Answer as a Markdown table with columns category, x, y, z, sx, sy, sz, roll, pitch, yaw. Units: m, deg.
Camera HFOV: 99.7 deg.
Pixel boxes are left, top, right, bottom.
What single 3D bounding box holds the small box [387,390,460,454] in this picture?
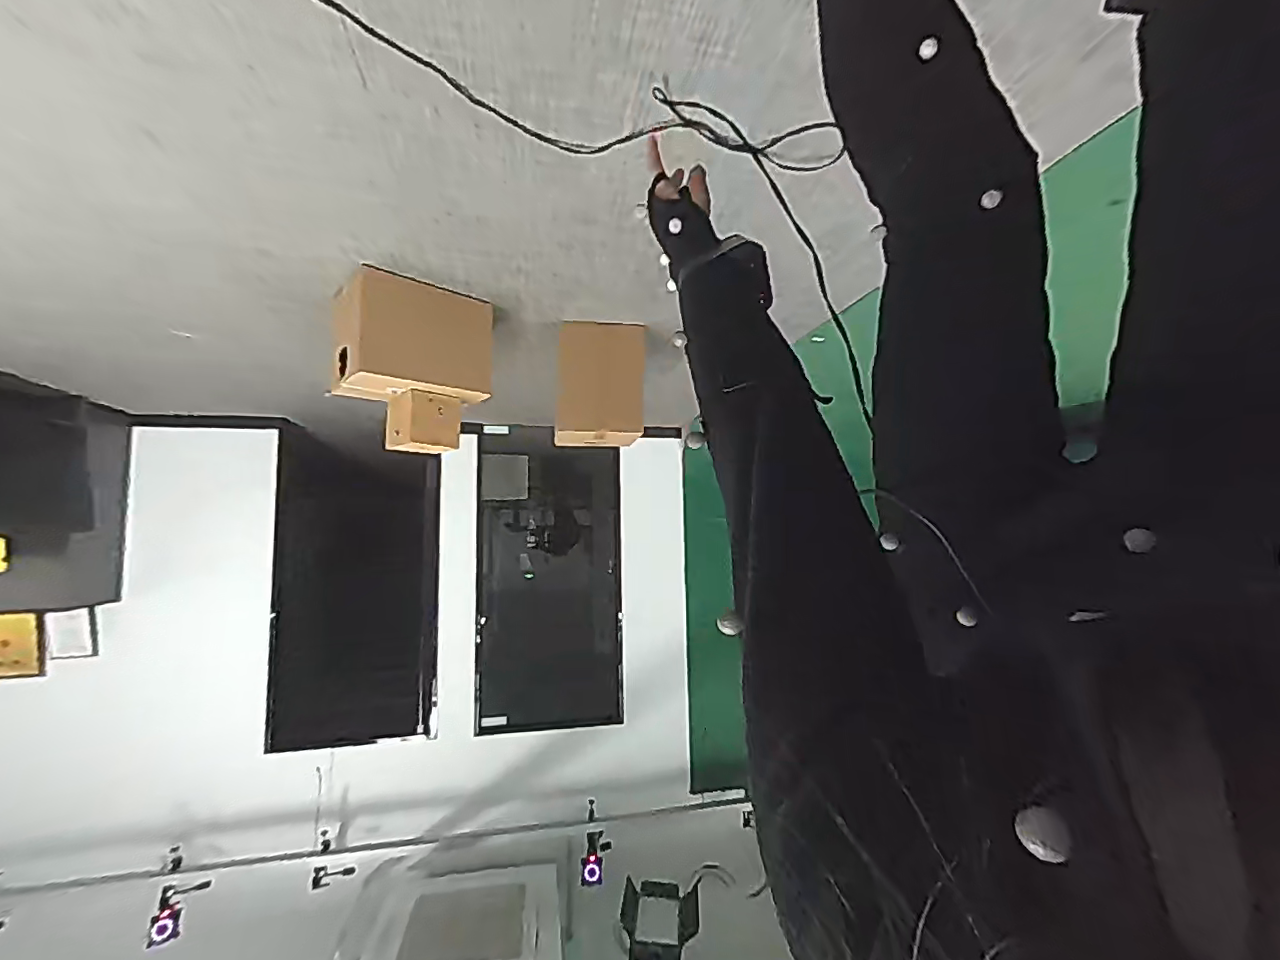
| category | x | y | z | sx | sy | sz | roll | pitch | yaw |
| --- | --- | --- | --- | --- | --- | --- | --- | --- | --- |
| small box | -0.692 | -0.181 | 1.740 | 0.179 | 0.176 | 0.168 | -5 | 173 | 43 |

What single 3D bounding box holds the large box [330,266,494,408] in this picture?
| category | x | y | z | sx | sy | sz | roll | pitch | yaw |
| --- | --- | --- | --- | --- | --- | --- | --- | --- | --- |
| large box | -0.720 | -0.426 | 1.727 | 0.408 | 0.320 | 0.320 | 6 | 171 | -42 |
